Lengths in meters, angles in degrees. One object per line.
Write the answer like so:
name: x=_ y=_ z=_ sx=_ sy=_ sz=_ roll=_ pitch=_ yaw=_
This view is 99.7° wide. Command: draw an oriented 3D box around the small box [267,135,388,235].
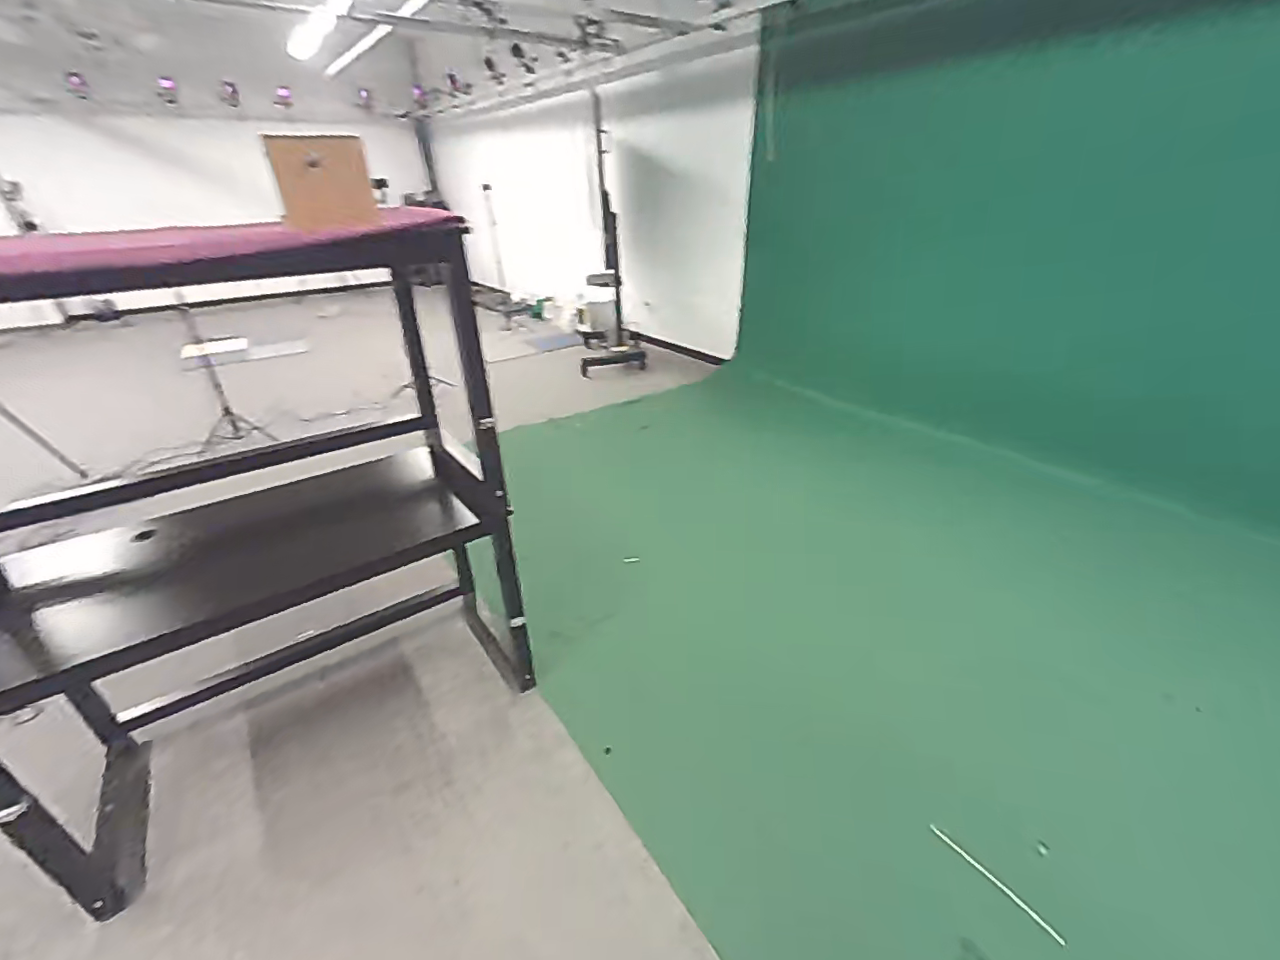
small box: x=-0.649 y=-0.611 z=1.132 sx=0.179 sy=0.176 sz=0.168 roll=-17 pitch=31 yaw=-25
